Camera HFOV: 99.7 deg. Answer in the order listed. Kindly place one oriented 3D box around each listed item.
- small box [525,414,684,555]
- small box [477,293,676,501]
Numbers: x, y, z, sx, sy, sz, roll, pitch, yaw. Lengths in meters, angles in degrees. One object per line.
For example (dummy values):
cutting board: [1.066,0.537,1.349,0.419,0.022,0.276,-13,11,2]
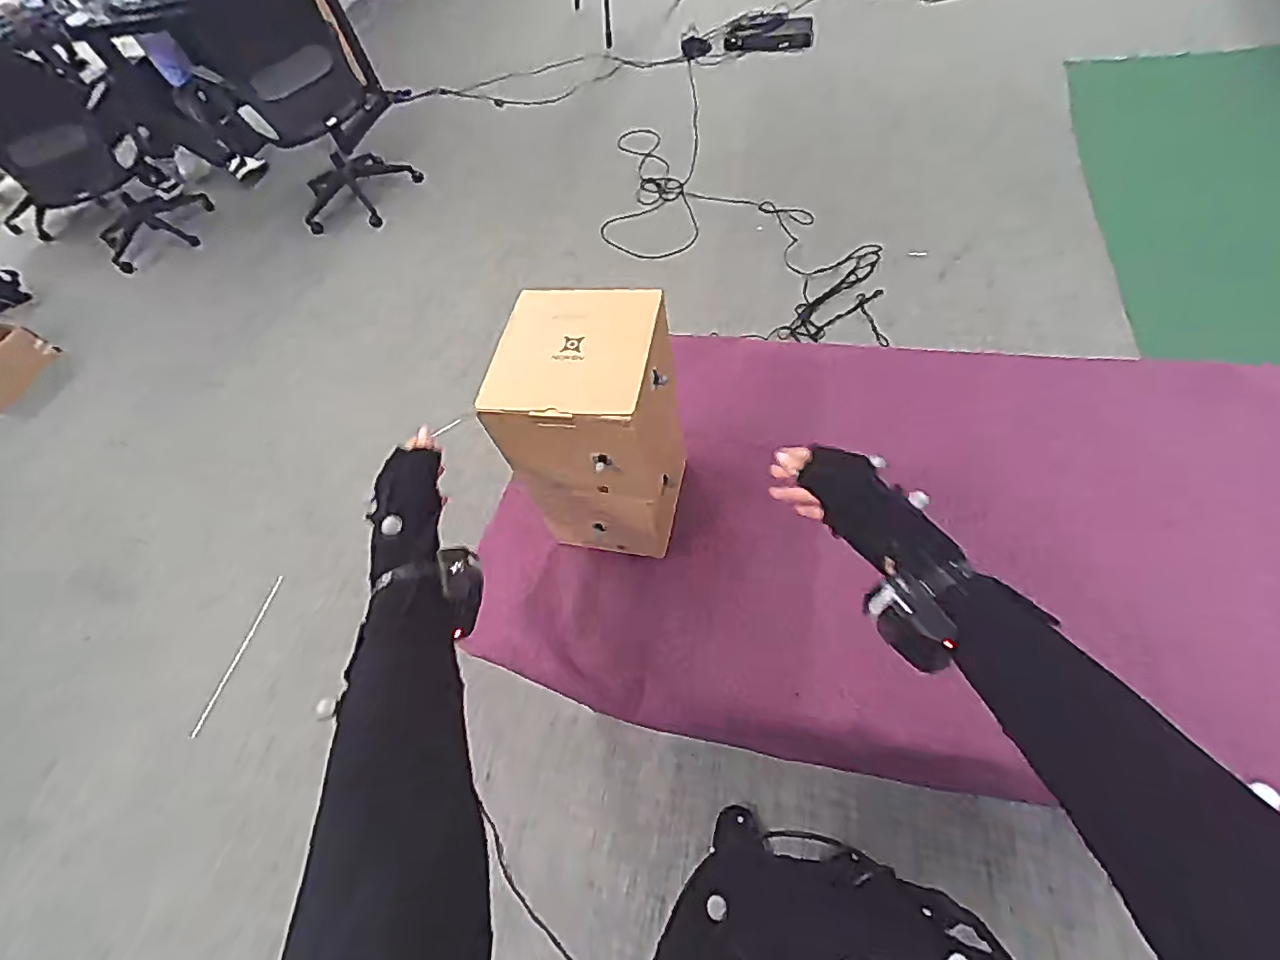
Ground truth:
small box: [-0.036,-0.009,0.765,0.168,0.176,0.179,7,61,14]
small box: [-0.056,-0.091,0.625,0.168,0.176,0.179,5,59,13]
